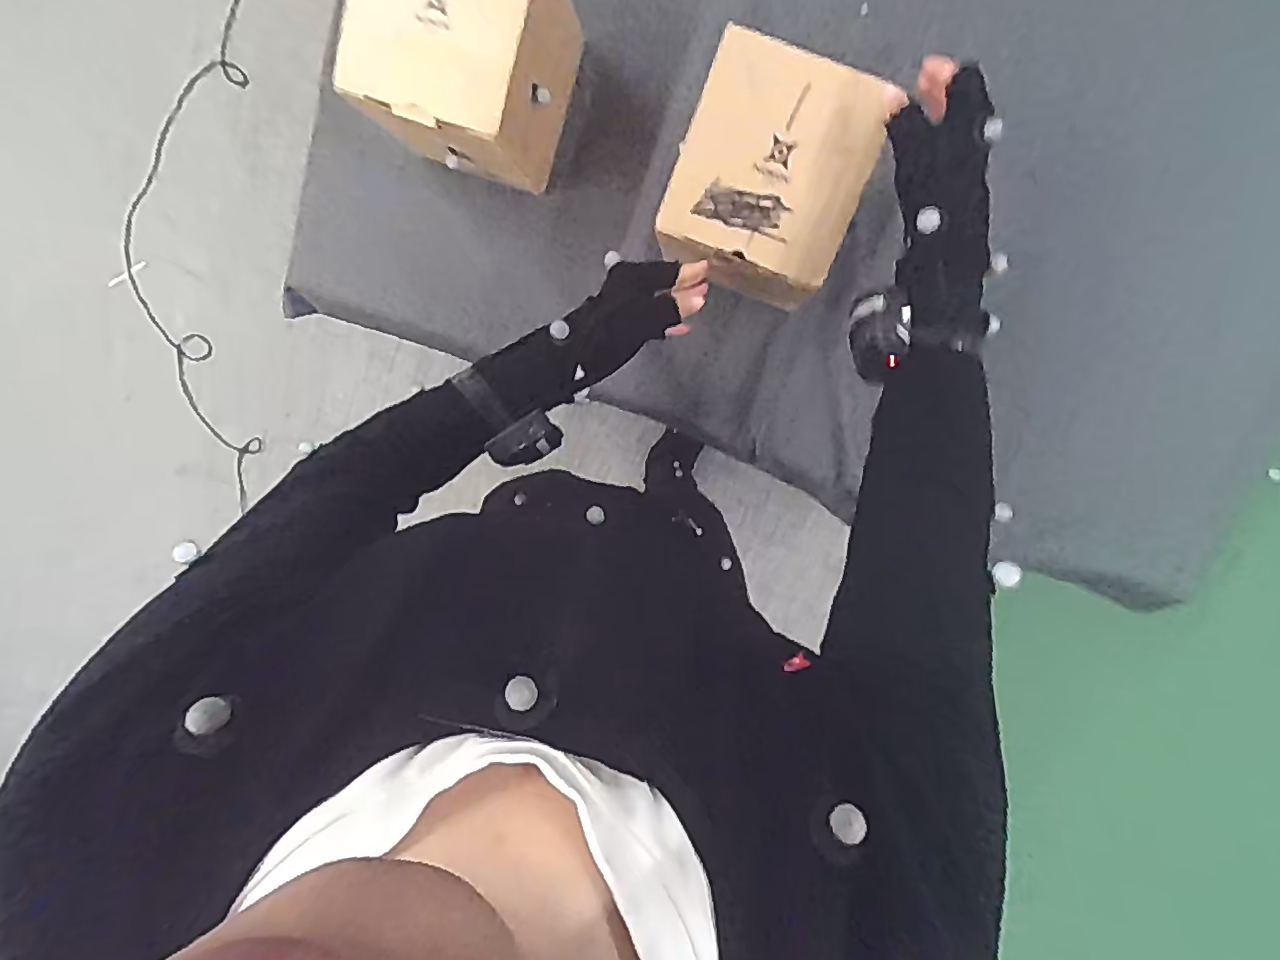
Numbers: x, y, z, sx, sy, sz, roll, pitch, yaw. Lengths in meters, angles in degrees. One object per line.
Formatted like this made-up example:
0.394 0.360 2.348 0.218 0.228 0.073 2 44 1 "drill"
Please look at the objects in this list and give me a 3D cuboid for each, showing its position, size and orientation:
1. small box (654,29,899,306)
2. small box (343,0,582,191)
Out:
0.129 -0.298 0.561 0.168 0.176 0.179 22 102 2 "small box"
-0.172 -0.436 0.571 0.168 0.176 0.179 19 103 3 "small box"
